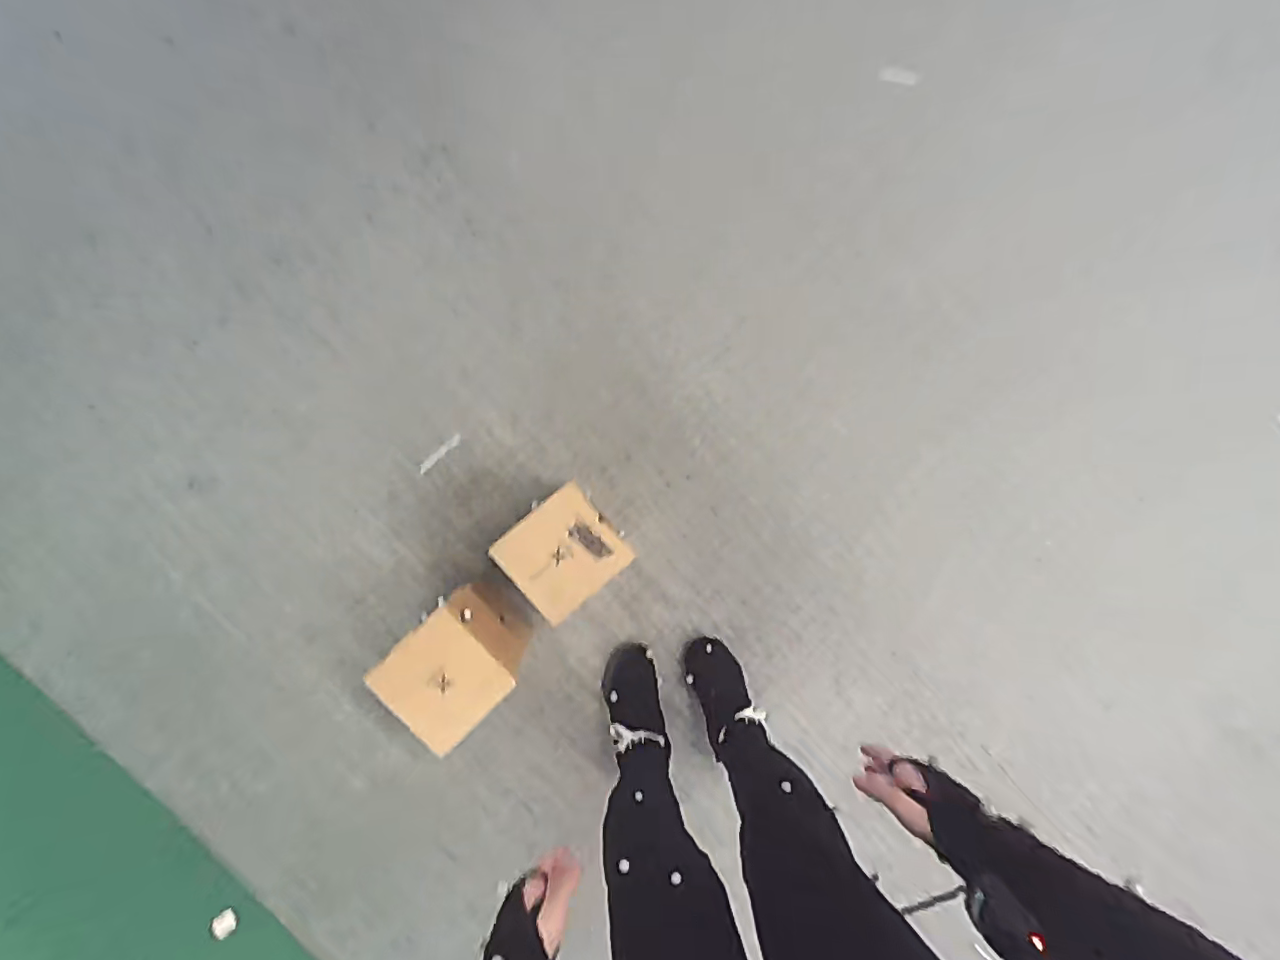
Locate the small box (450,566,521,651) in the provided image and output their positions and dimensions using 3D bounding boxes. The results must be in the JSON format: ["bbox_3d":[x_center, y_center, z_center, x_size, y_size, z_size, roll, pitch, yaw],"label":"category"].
[{"bbox_3d":[-0.356,0.291,1.076,0.168,0.176,0.179,-39,94,-6],"label":"small box"}]

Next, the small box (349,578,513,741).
[{"bbox_3d":[-0.336,0.289,0.915,0.168,0.176,0.179,-42,93,-5],"label":"small box"}]

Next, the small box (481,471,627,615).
[{"bbox_3d":[-0.144,0.099,0.936,0.179,0.176,0.168,-39,93,-5],"label":"small box"}]
